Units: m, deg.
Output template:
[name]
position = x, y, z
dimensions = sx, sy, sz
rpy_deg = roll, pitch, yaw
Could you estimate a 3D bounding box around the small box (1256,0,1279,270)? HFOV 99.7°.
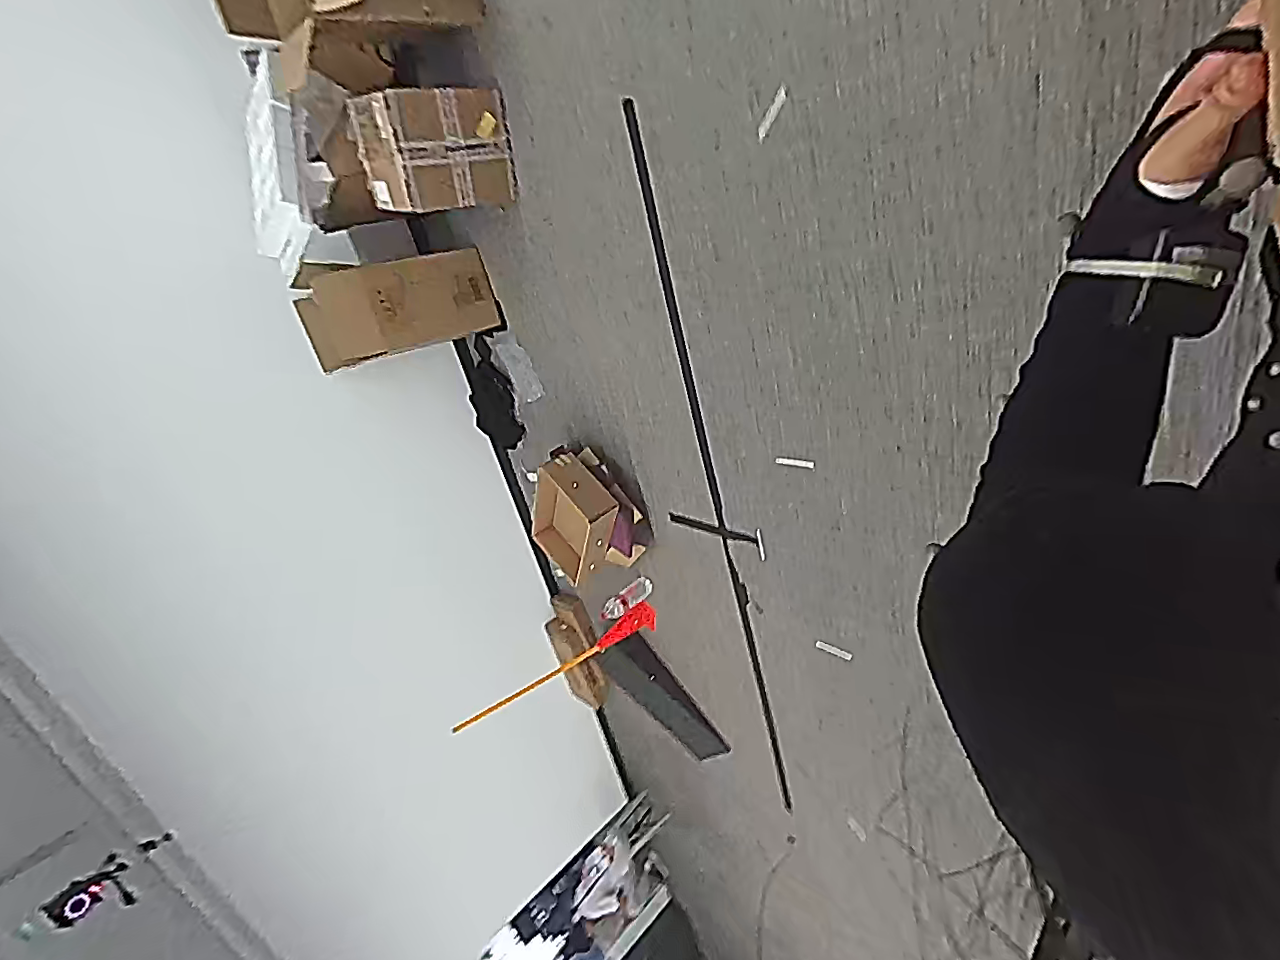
[small box]
position = 0.346, -0.204, 0.189
dimensions = 0.168, 0.176, 0.179
rpy_deg = -3, 123, 48
